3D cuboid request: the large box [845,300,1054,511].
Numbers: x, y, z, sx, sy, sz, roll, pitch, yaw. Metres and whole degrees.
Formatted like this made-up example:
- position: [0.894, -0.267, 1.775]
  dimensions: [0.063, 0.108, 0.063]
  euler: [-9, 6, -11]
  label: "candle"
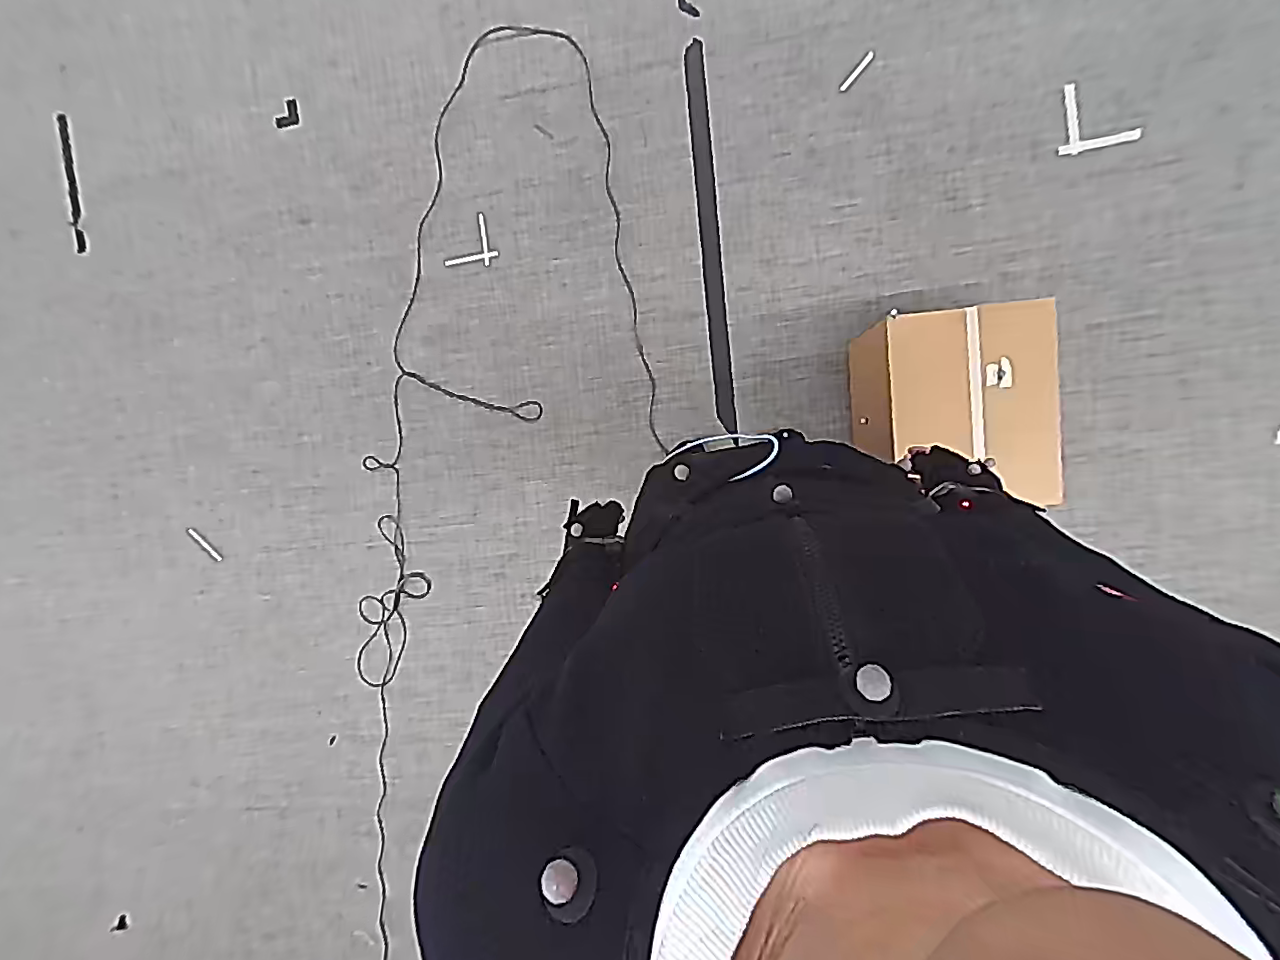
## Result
- position: [0.677, -0.154, 1.238]
  dimensions: [0.320, 0.320, 0.408]
  euler: [-5, 93, 6]
  label: "large box"
